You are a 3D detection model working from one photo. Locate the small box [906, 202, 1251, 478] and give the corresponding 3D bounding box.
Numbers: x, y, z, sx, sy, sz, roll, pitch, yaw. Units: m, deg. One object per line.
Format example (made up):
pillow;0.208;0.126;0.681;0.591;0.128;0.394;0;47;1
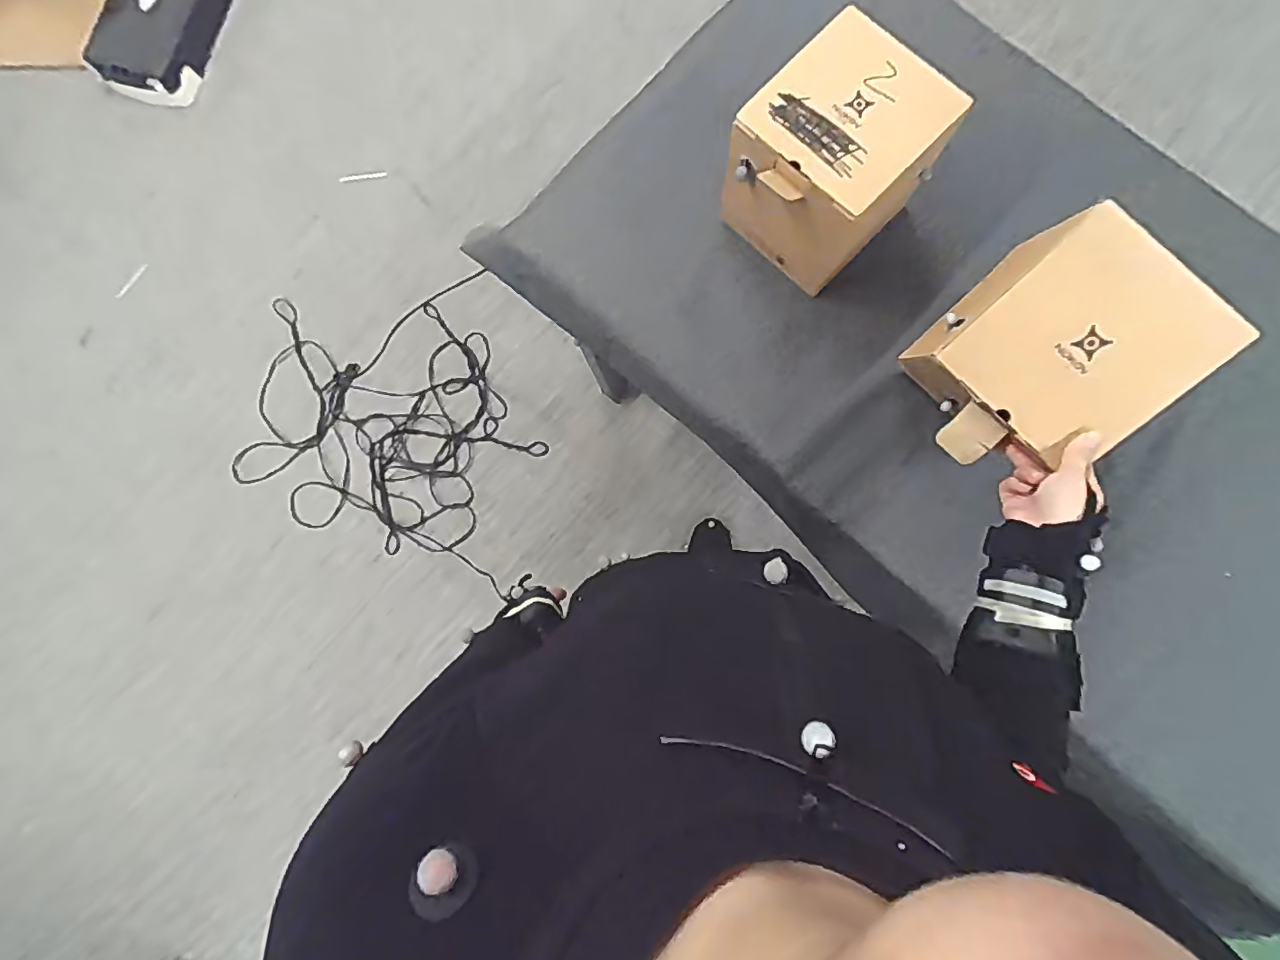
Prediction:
small box;0.403;-0.131;0.542;0.168;0.176;0.179;44;108;3
